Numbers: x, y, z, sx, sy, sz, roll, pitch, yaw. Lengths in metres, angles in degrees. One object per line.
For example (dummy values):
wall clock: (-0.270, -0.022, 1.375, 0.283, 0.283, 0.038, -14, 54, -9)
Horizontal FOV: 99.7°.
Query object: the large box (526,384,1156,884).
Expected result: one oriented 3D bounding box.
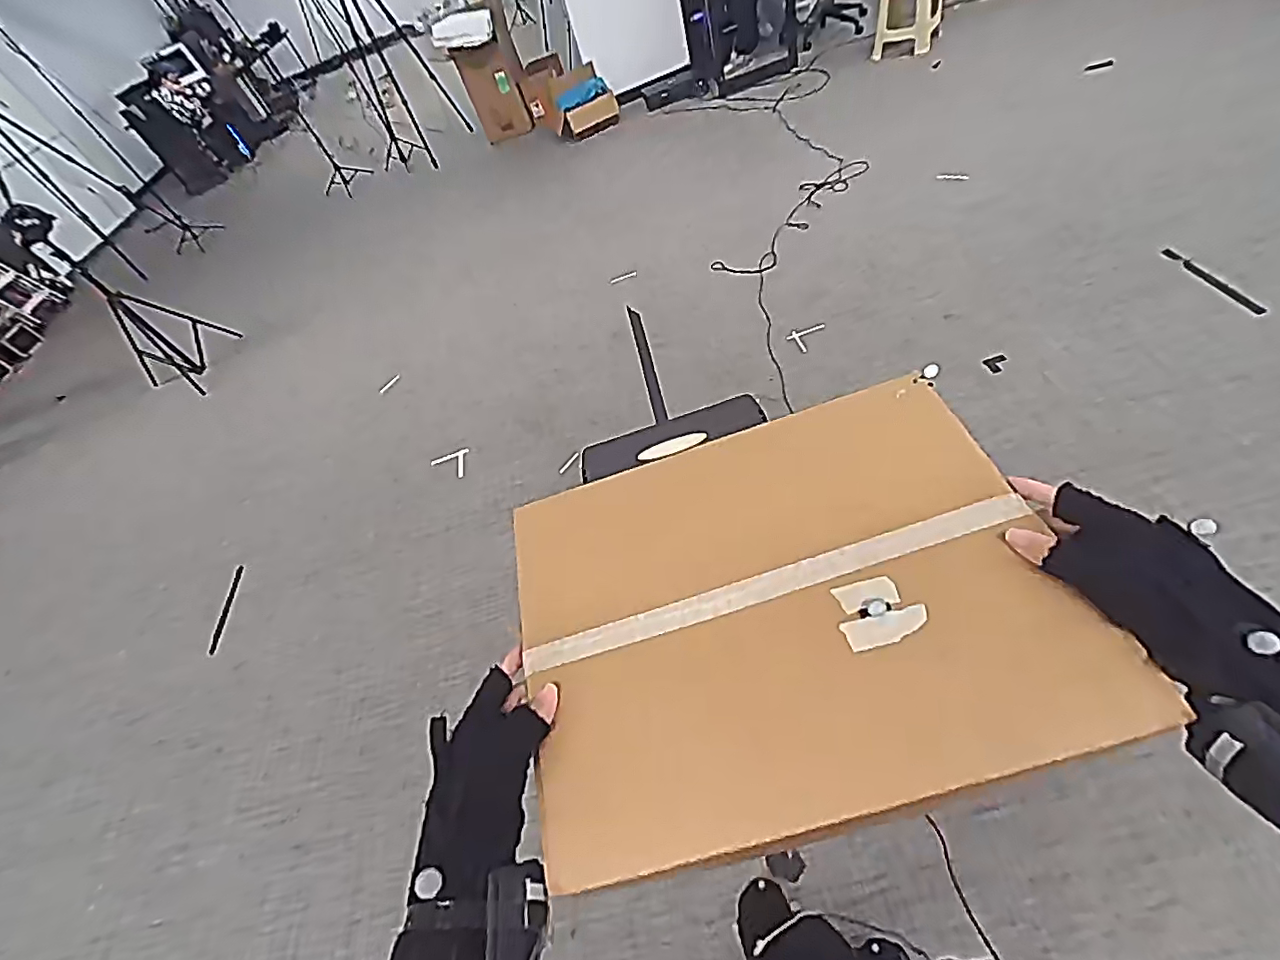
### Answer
large box: (0.140, 0.171, 0.554, 0.408, 0.320, 0.320, -19, 53, 4)
